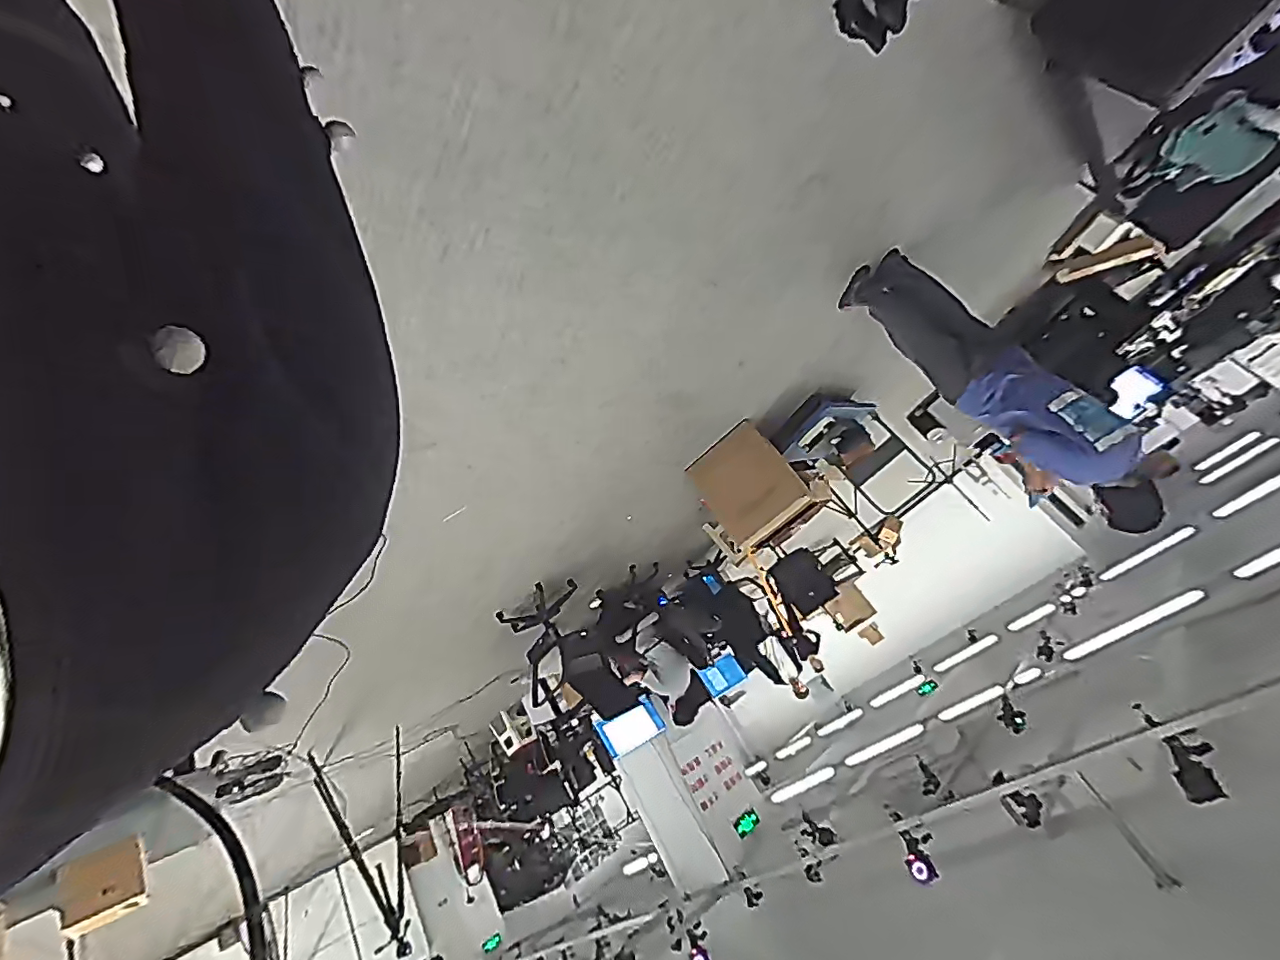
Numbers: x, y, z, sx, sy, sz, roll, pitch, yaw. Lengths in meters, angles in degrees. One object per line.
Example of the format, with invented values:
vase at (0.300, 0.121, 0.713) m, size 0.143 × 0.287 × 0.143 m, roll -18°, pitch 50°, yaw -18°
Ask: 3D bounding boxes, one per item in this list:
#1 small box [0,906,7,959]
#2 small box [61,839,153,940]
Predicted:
small box at (-1.794, 1.243, 1.408) m, size 0.168 × 0.176 × 0.179 m, roll -8°, pitch 145°, yaw -44°
small box at (-1.587, 1.215, 1.613) m, size 0.179 × 0.176 × 0.168 m, roll -9°, pitch 145°, yaw -42°
